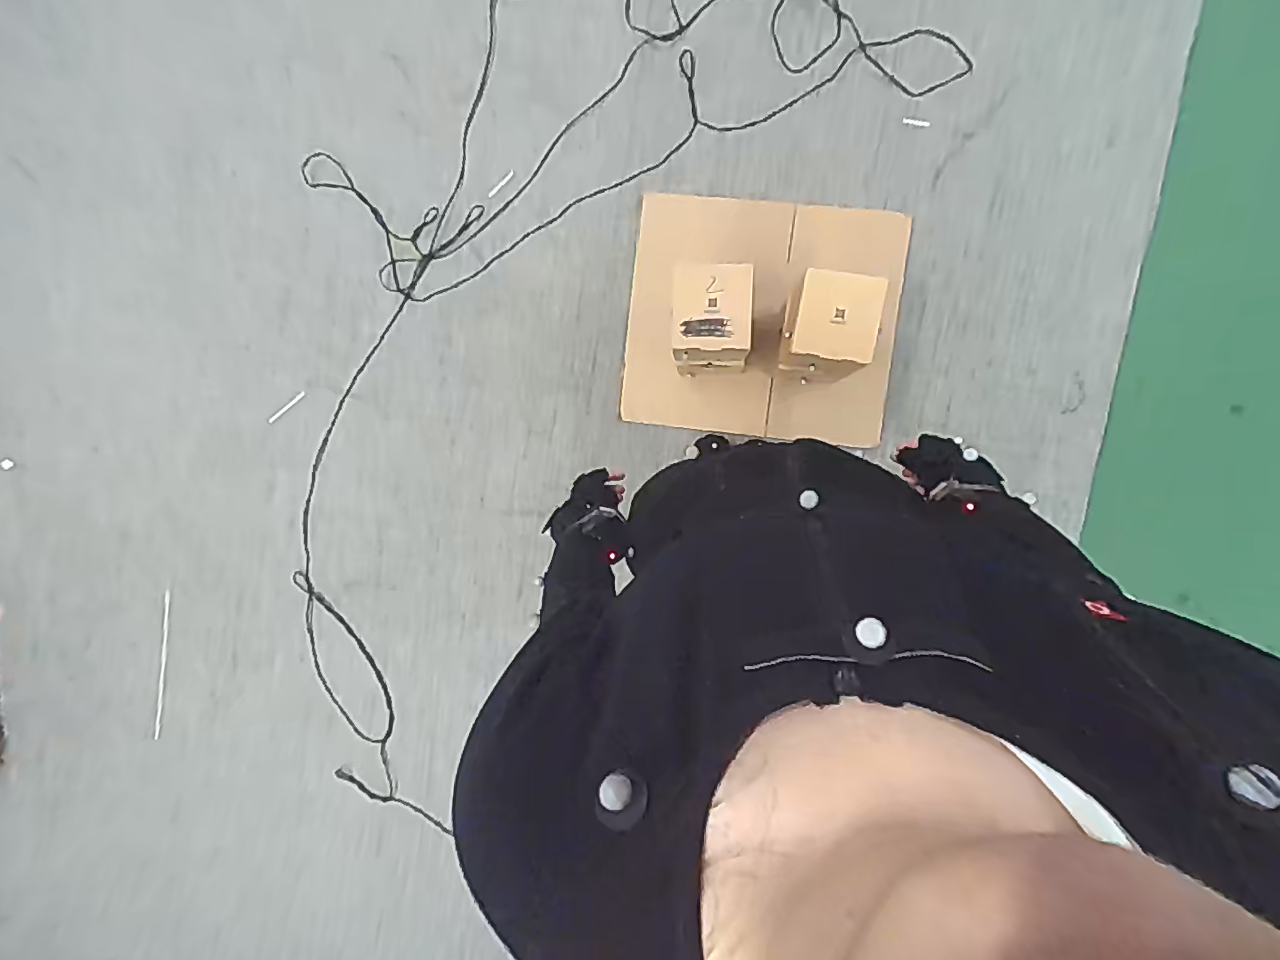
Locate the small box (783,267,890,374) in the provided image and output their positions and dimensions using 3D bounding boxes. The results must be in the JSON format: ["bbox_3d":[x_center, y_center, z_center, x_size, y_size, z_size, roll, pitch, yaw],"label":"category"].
[{"bbox_3d":[0.416,-0.338,1.174,0.168,0.176,0.179,10,95,5],"label":"small box"}]

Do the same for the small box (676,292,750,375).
[{"bbox_3d":[0.181,-0.361,1.356,0.168,0.176,0.179,3,94,6],"label":"small box"}]

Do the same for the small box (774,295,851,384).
[{"bbox_3d":[0.430,-0.341,1.336,0.168,0.176,0.179,7,95,7],"label":"small box"}]
